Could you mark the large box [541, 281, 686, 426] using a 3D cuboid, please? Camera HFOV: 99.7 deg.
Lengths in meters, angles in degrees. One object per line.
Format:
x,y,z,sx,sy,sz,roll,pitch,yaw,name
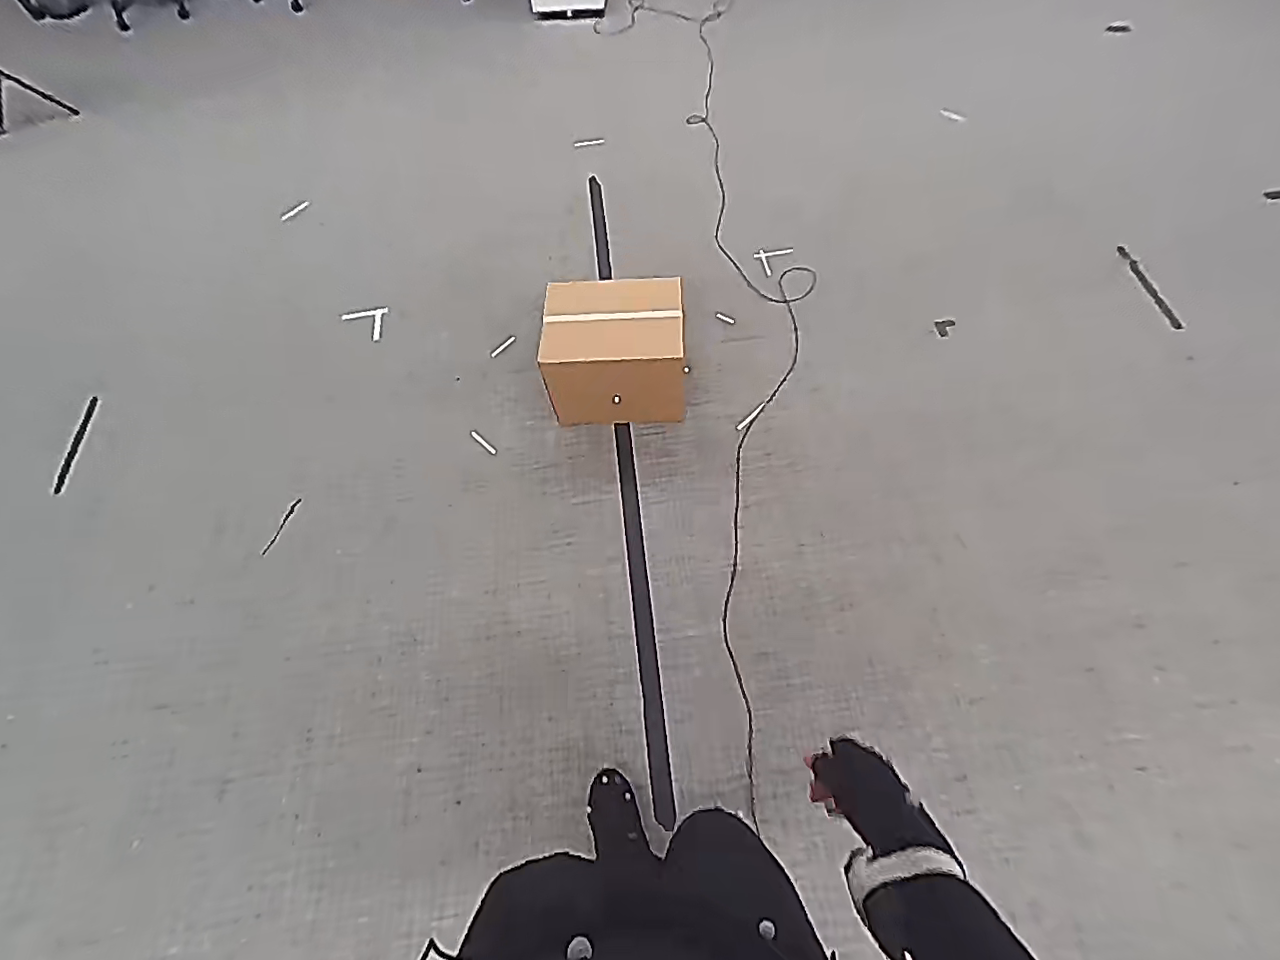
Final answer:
-0.068,-0.380,1.672,0.408,0.320,0.320,-1,62,3,large box
